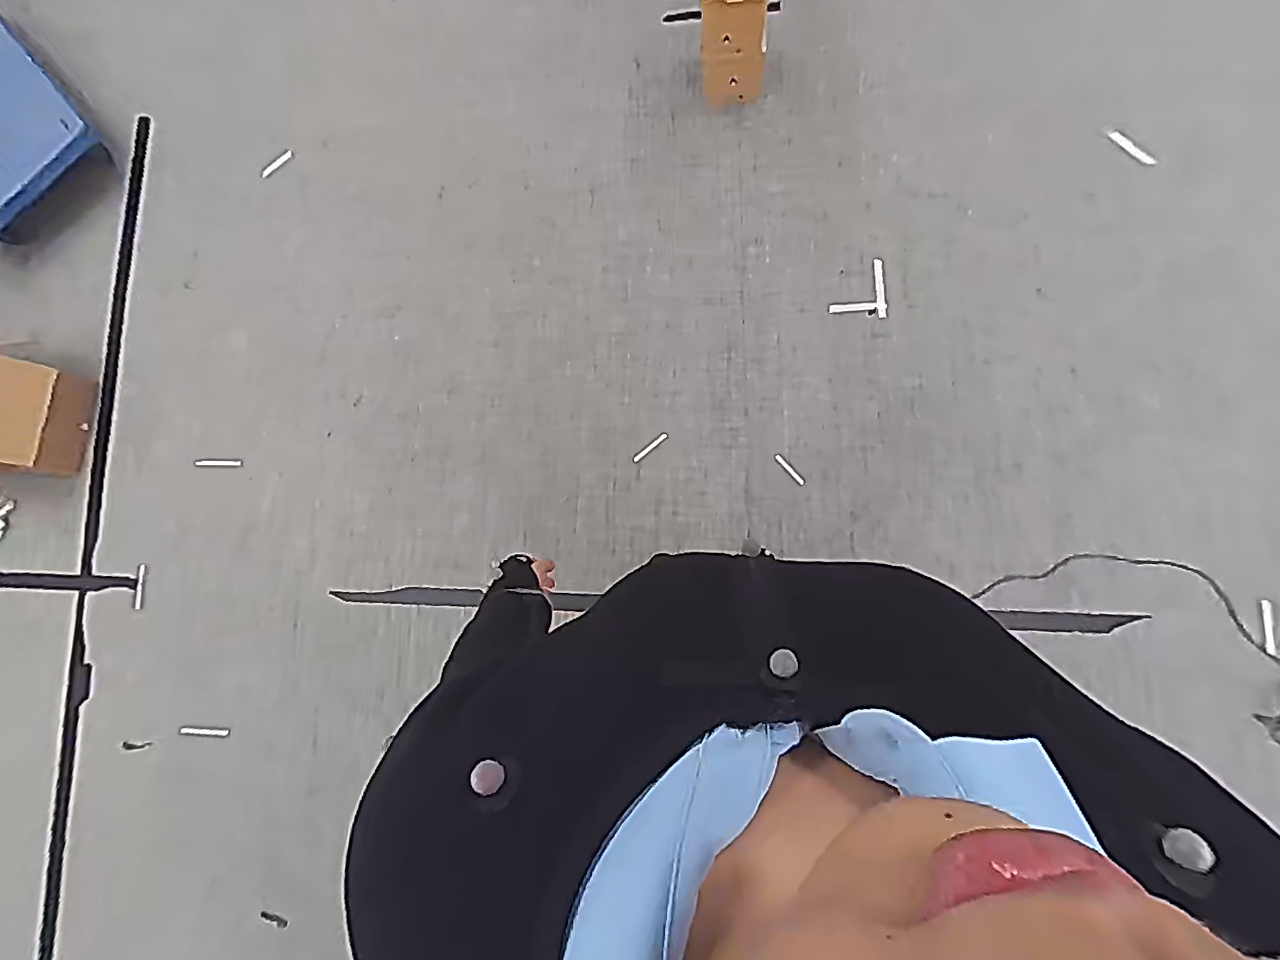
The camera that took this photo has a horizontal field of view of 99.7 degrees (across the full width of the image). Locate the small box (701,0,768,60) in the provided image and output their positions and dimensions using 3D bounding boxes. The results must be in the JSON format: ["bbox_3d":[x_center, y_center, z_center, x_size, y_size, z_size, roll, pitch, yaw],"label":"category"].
[{"bbox_3d":[0.251,-1.262,1.426,0.168,0.176,0.179,5,85,7],"label":"small box"}]

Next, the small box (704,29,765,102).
[{"bbox_3d":[0.275,-1.247,1.587,0.168,0.176,0.179,-2,82,5],"label":"small box"}]
